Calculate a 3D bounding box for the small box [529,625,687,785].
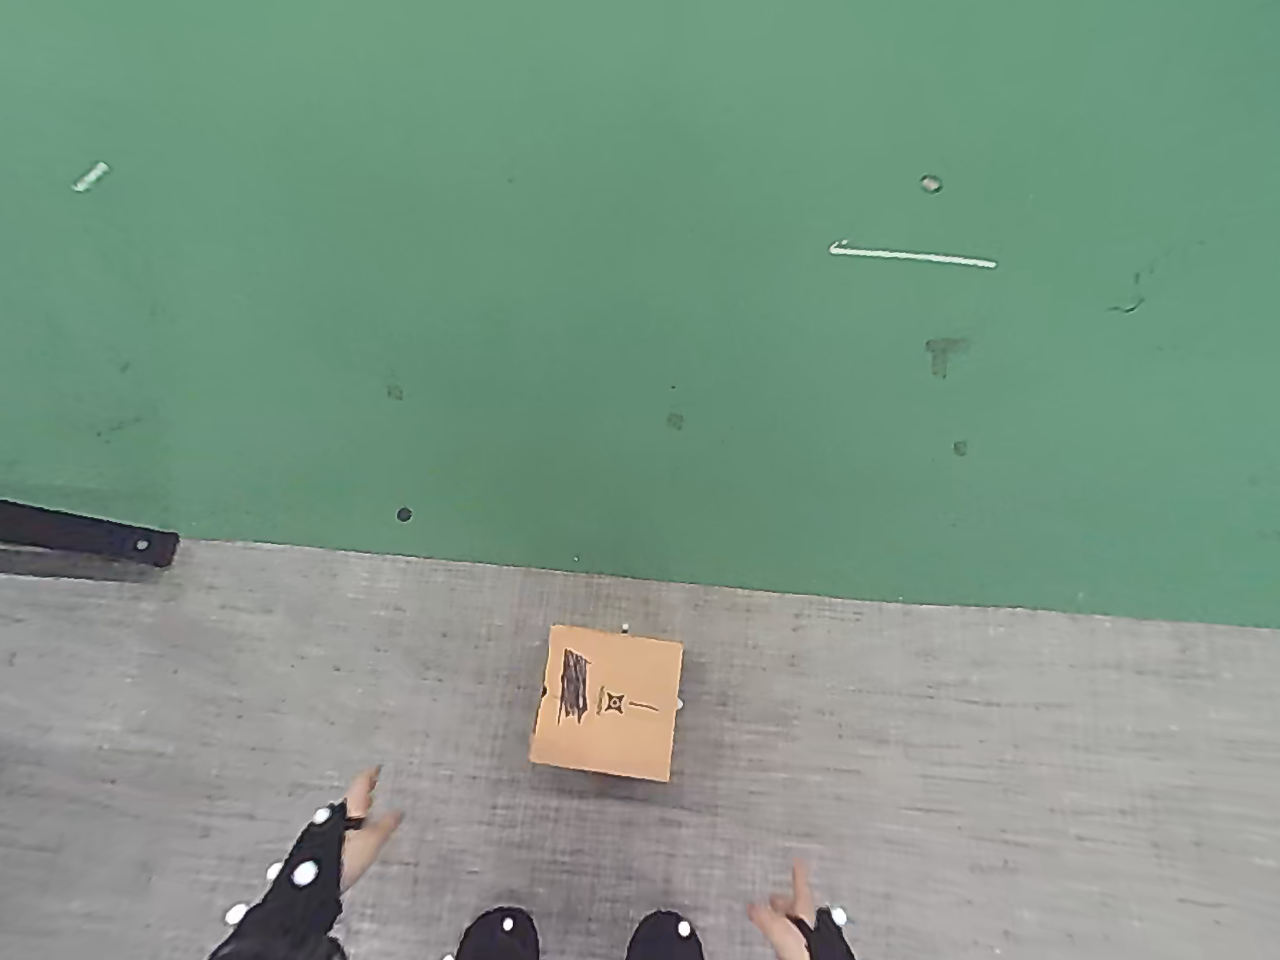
[{"bbox_3d":[-0.038,0.297,0.745,0.179,0.176,0.168,8,75,1],"label":"small box"}]
